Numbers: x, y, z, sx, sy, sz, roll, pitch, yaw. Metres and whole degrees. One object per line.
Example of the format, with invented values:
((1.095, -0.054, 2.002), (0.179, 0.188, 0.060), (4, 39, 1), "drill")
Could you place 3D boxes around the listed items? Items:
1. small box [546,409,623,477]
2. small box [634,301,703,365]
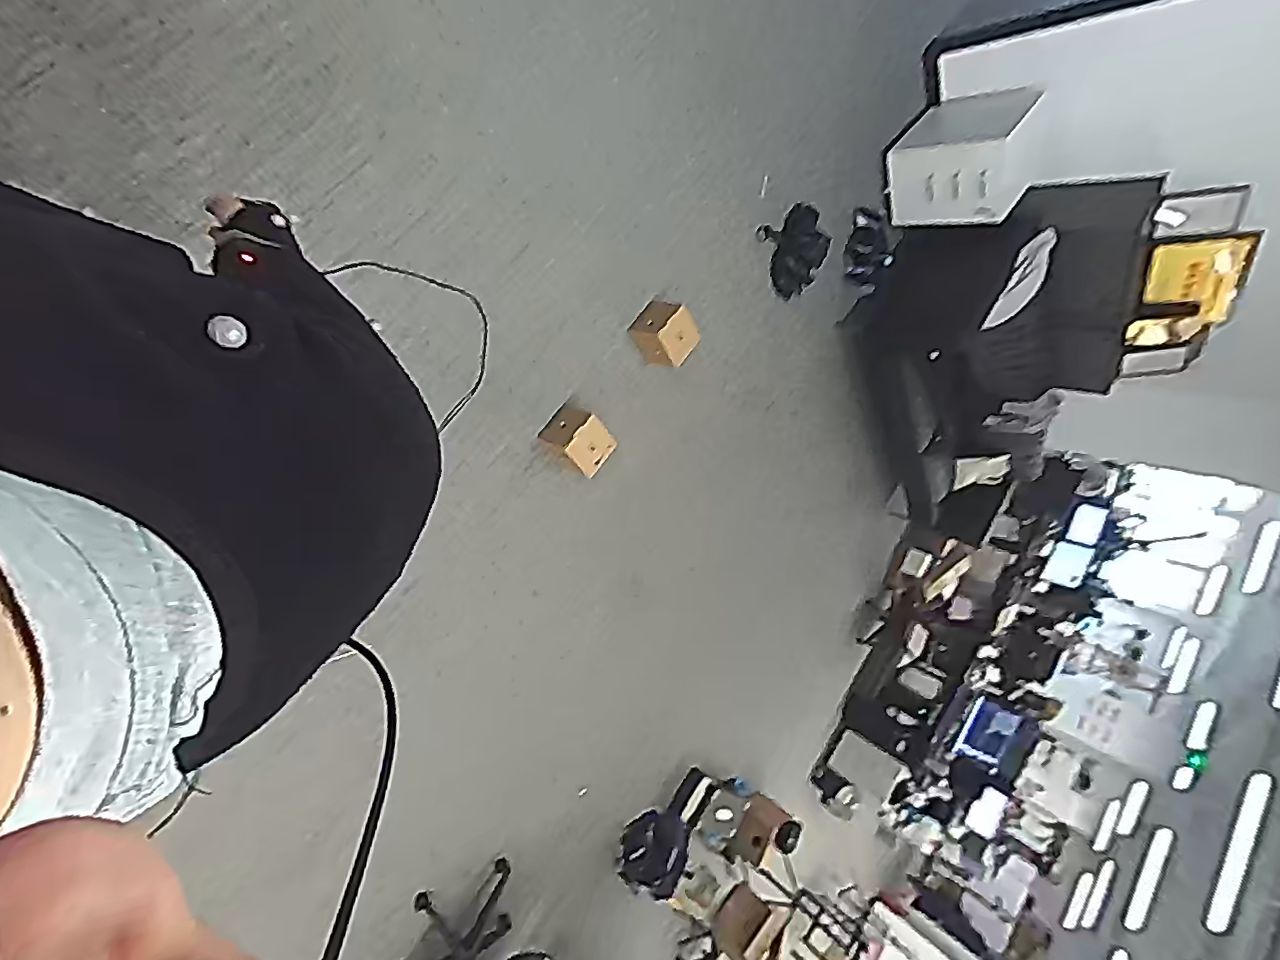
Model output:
((-0.201, -0.137, 1.926), (0.168, 0.176, 0.179), (-54, 134, -15), "small box")
((0.107, -0.565, 2.072), (0.168, 0.176, 0.179), (-54, 136, -14), "small box")
